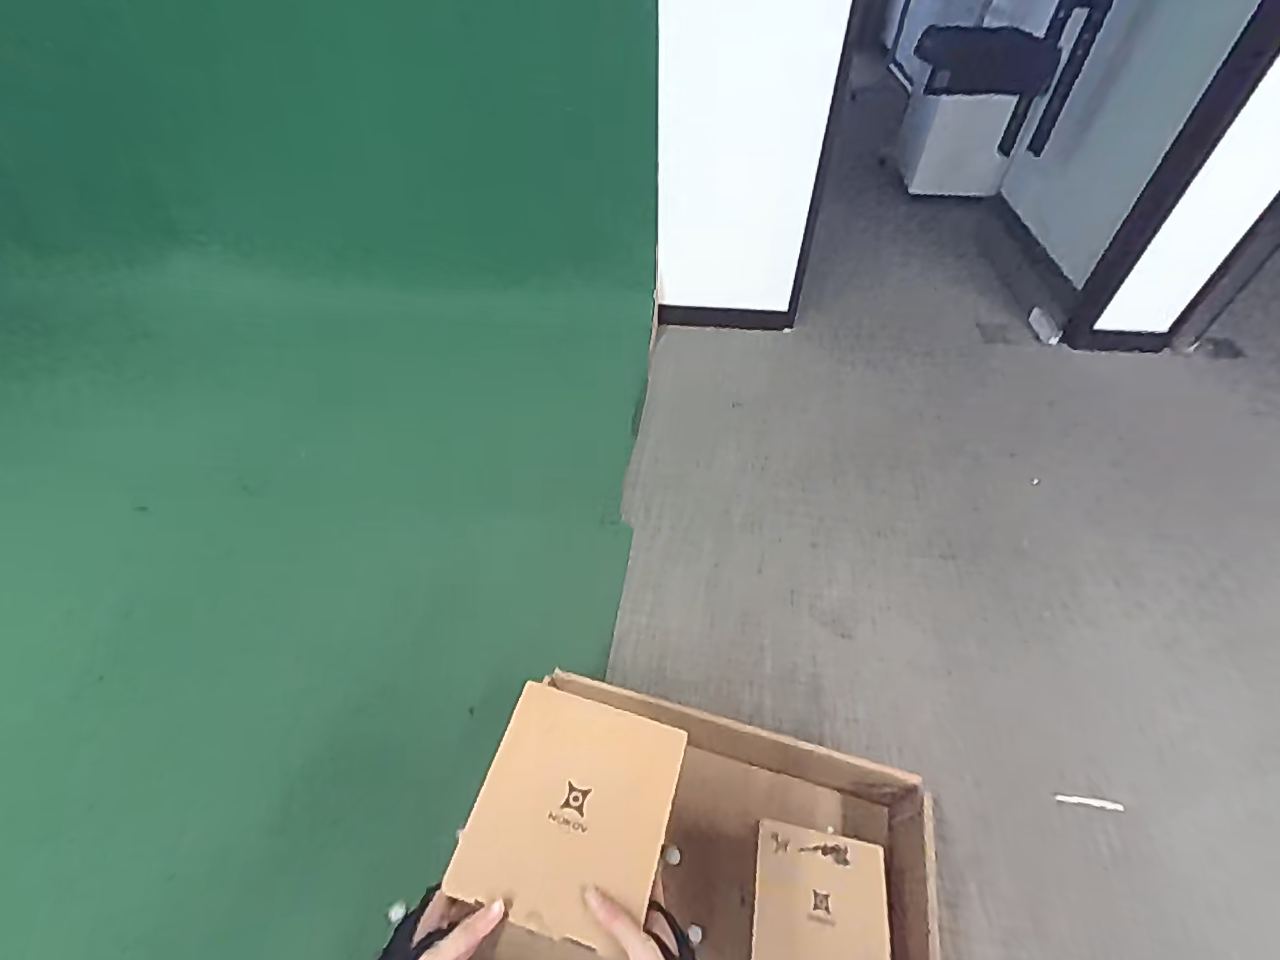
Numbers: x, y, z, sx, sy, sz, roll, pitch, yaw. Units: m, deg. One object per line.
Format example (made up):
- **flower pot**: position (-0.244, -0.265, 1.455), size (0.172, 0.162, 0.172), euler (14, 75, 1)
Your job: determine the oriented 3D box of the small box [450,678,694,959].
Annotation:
- **small box**: position (-0.053, 0.325, 0.530), size (0.168, 0.176, 0.179), euler (14, 56, 10)
